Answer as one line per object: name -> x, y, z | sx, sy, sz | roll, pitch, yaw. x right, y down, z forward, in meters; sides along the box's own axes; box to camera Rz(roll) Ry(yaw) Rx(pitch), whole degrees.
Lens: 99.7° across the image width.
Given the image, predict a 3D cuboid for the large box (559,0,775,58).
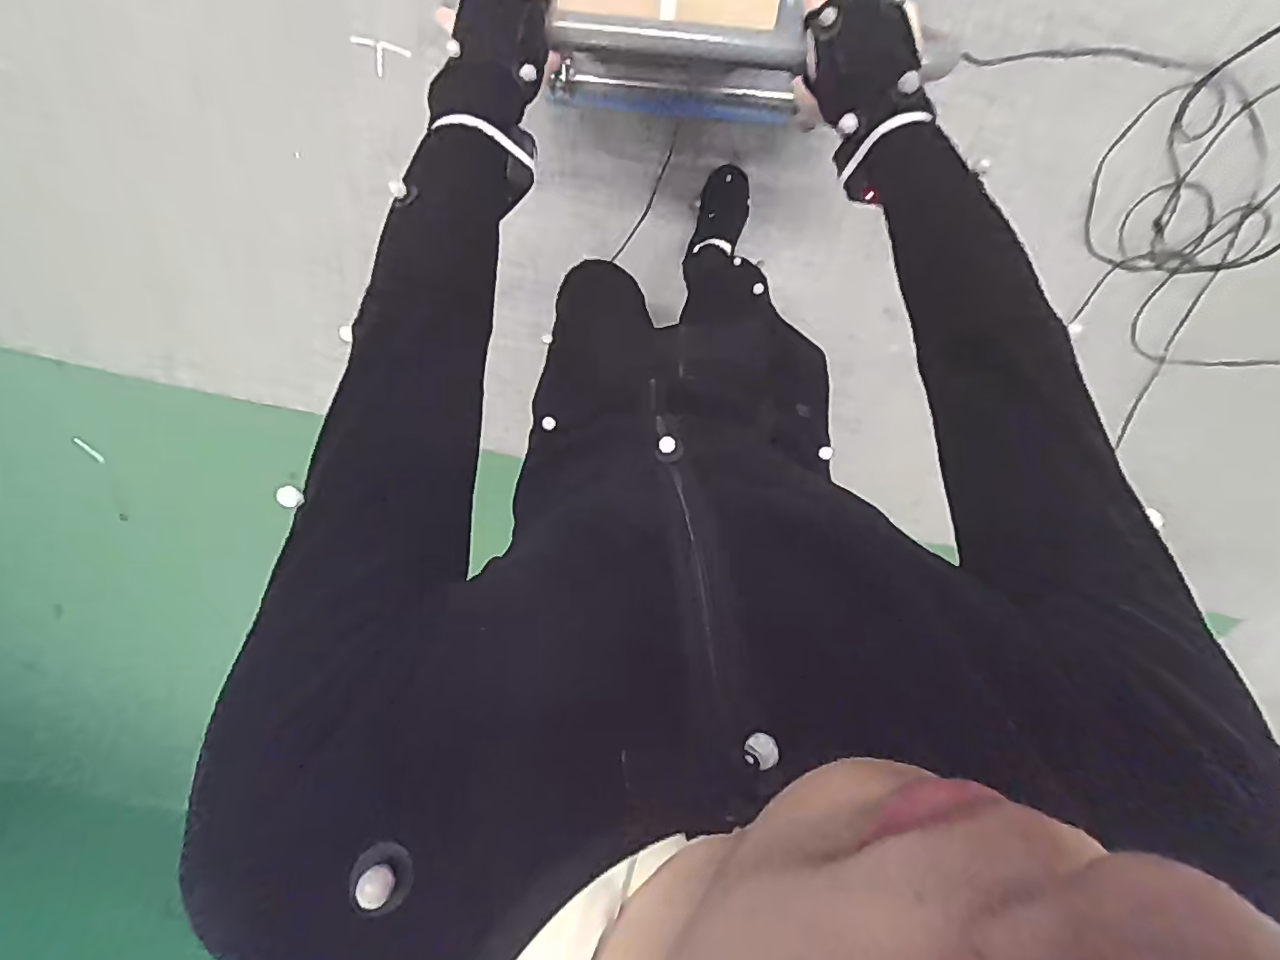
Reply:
large box -> 0.057, -0.908, 0.807 | 0.320, 0.320, 0.408 | 5, 122, -1
